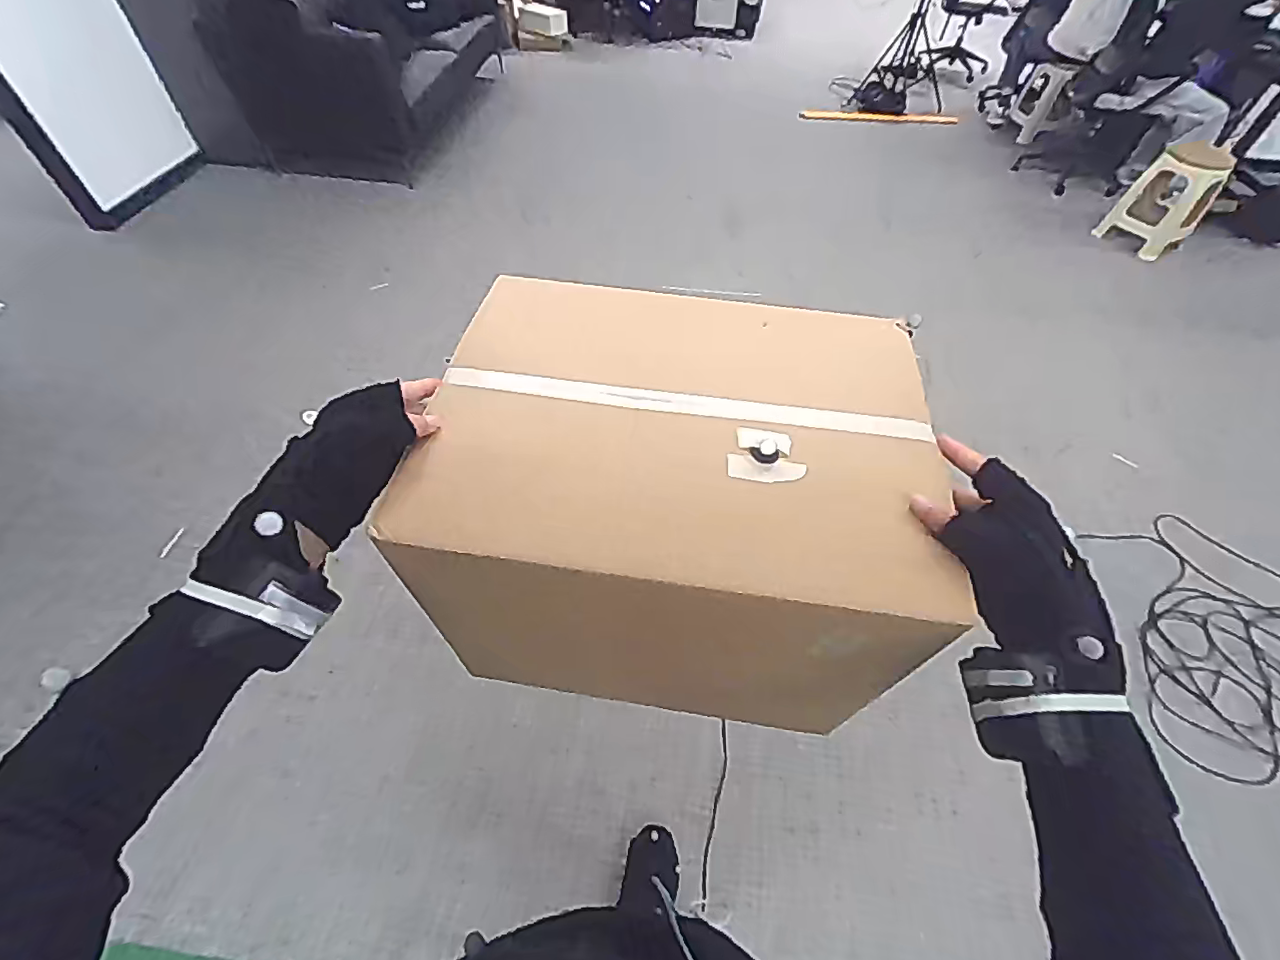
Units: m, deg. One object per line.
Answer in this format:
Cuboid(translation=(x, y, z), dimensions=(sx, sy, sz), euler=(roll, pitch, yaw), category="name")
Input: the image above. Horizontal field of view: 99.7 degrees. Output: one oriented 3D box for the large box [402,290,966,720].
Cuboid(translation=(0.037, 0.036, 0.580), dimensions=(0.408, 0.320, 0.320), euler=(8, 54, 3), category="large box")
